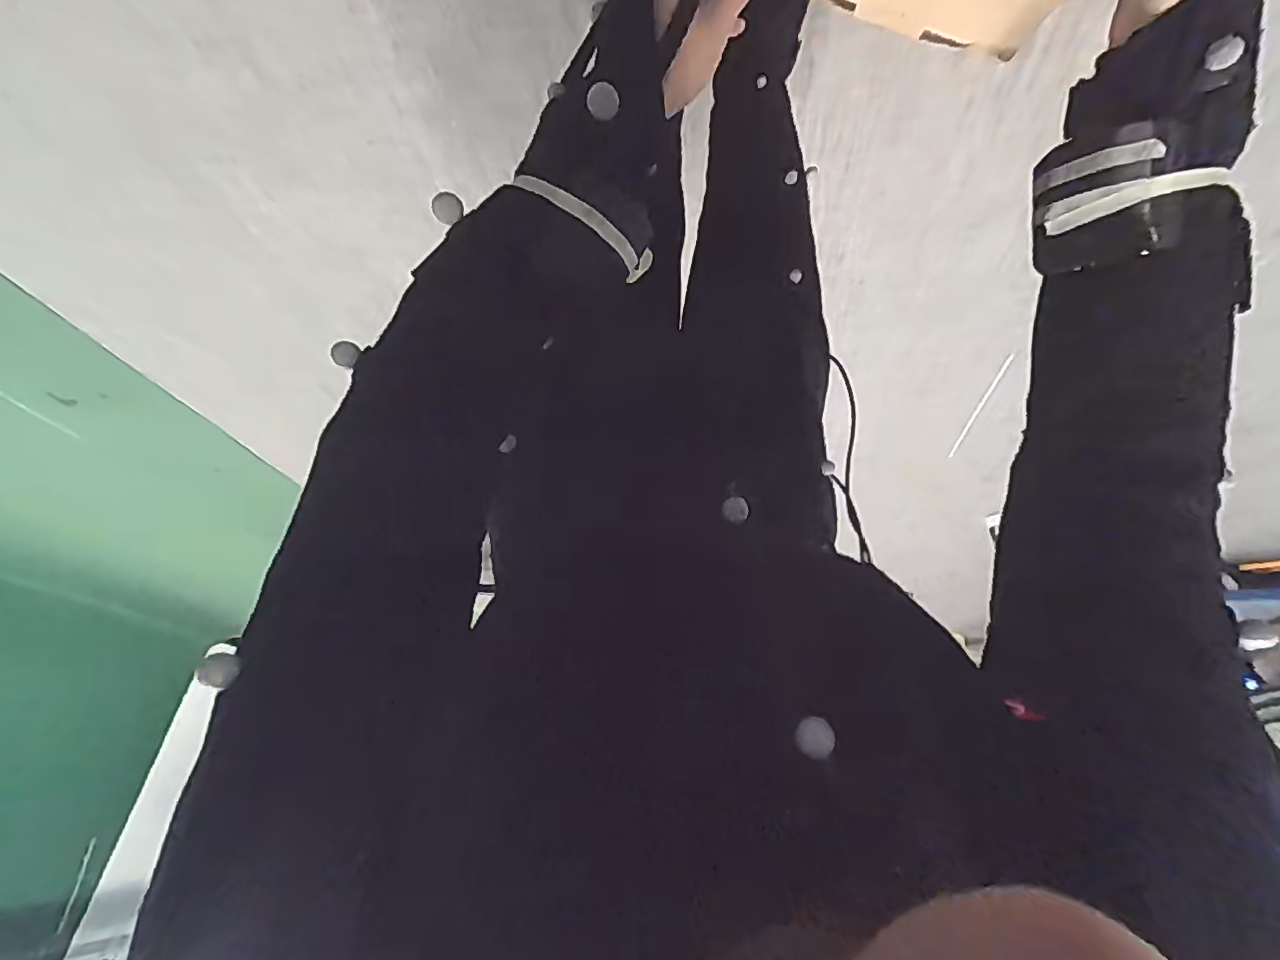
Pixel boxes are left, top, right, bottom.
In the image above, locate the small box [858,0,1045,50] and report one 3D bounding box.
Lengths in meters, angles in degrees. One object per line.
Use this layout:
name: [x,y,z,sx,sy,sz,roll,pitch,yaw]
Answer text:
small box: [0.158,-0.366,0.253,0.168,0.176,0.179,5,157,-13]
